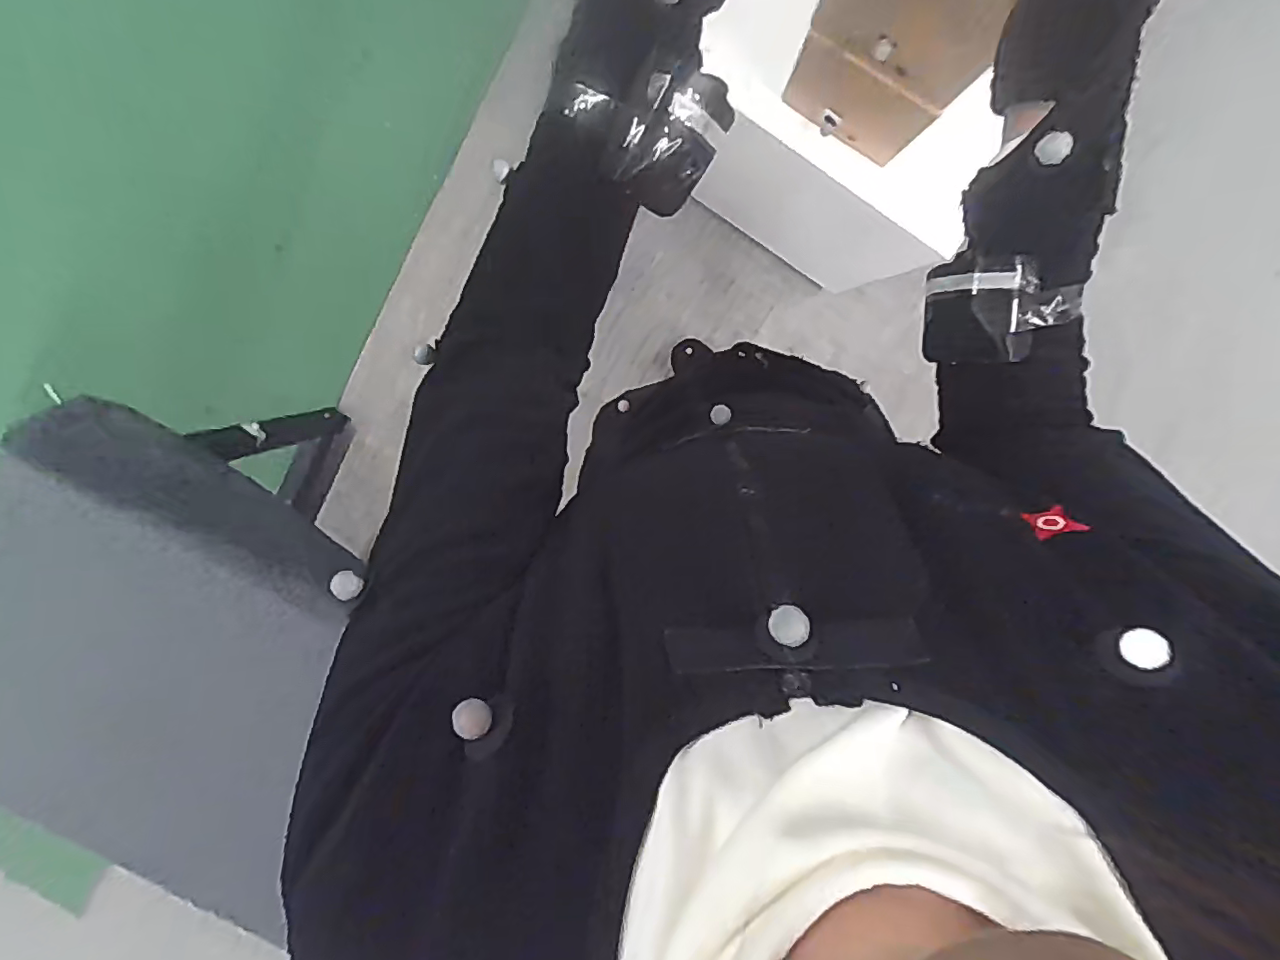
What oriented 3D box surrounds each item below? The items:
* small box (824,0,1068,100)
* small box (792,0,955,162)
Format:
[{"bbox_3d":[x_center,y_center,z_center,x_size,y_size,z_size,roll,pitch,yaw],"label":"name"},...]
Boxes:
[{"bbox_3d":[0.277,-0.467,0.441,0.168,0.176,0.179,27,103,-2],"label":"small box"},{"bbox_3d":[0.290,-0.501,0.601,0.168,0.176,0.179,31,106,-2],"label":"small box"}]
